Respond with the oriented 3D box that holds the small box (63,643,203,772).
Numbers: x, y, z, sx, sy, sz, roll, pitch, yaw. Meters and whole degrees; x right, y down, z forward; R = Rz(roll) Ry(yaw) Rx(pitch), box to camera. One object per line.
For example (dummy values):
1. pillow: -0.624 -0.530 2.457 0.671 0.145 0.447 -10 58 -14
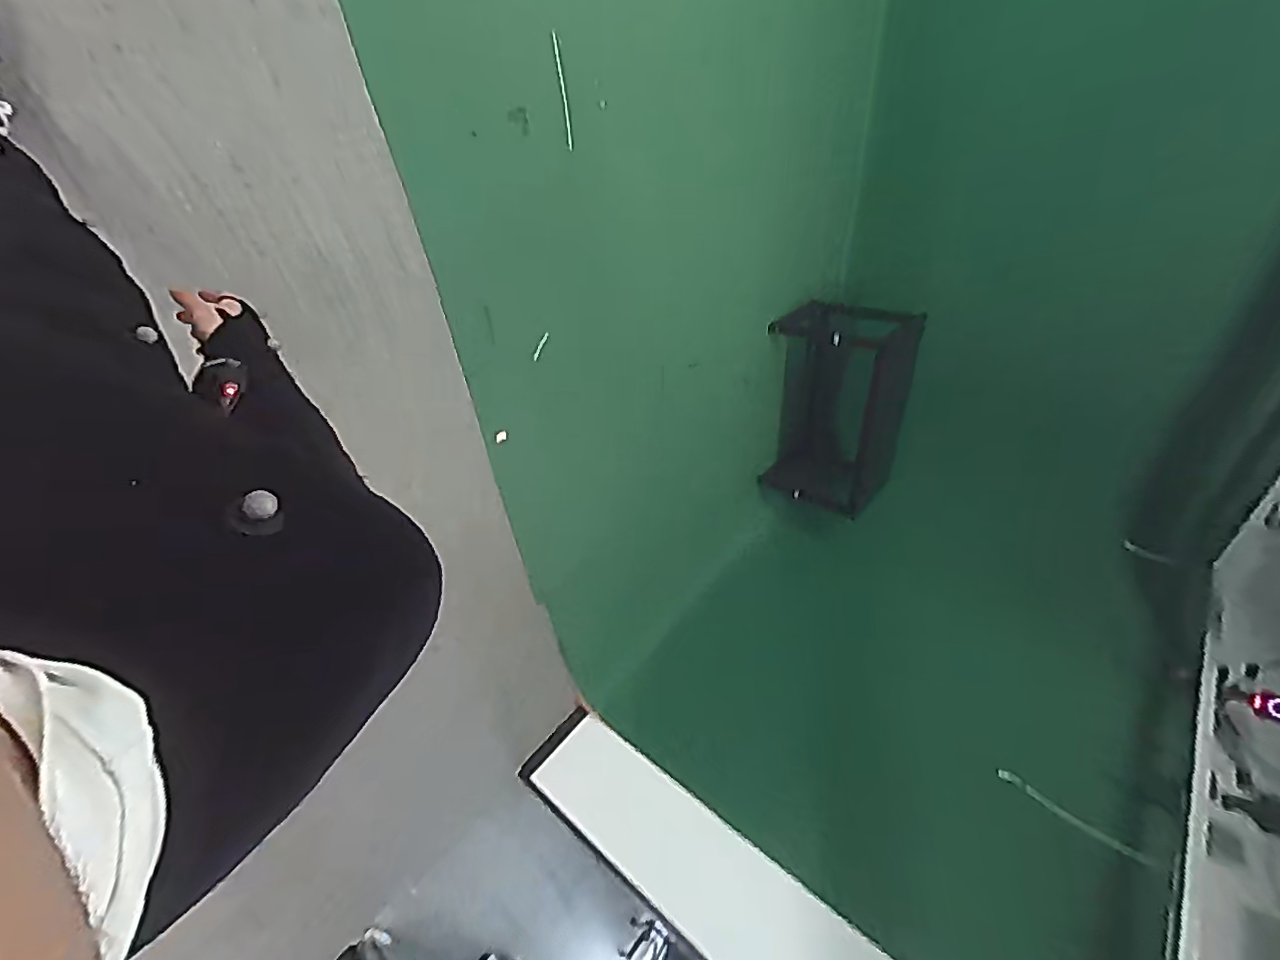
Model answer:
1. small box: -1.119 0.488 1.195 0.168 0.176 0.179 -29 132 -40
